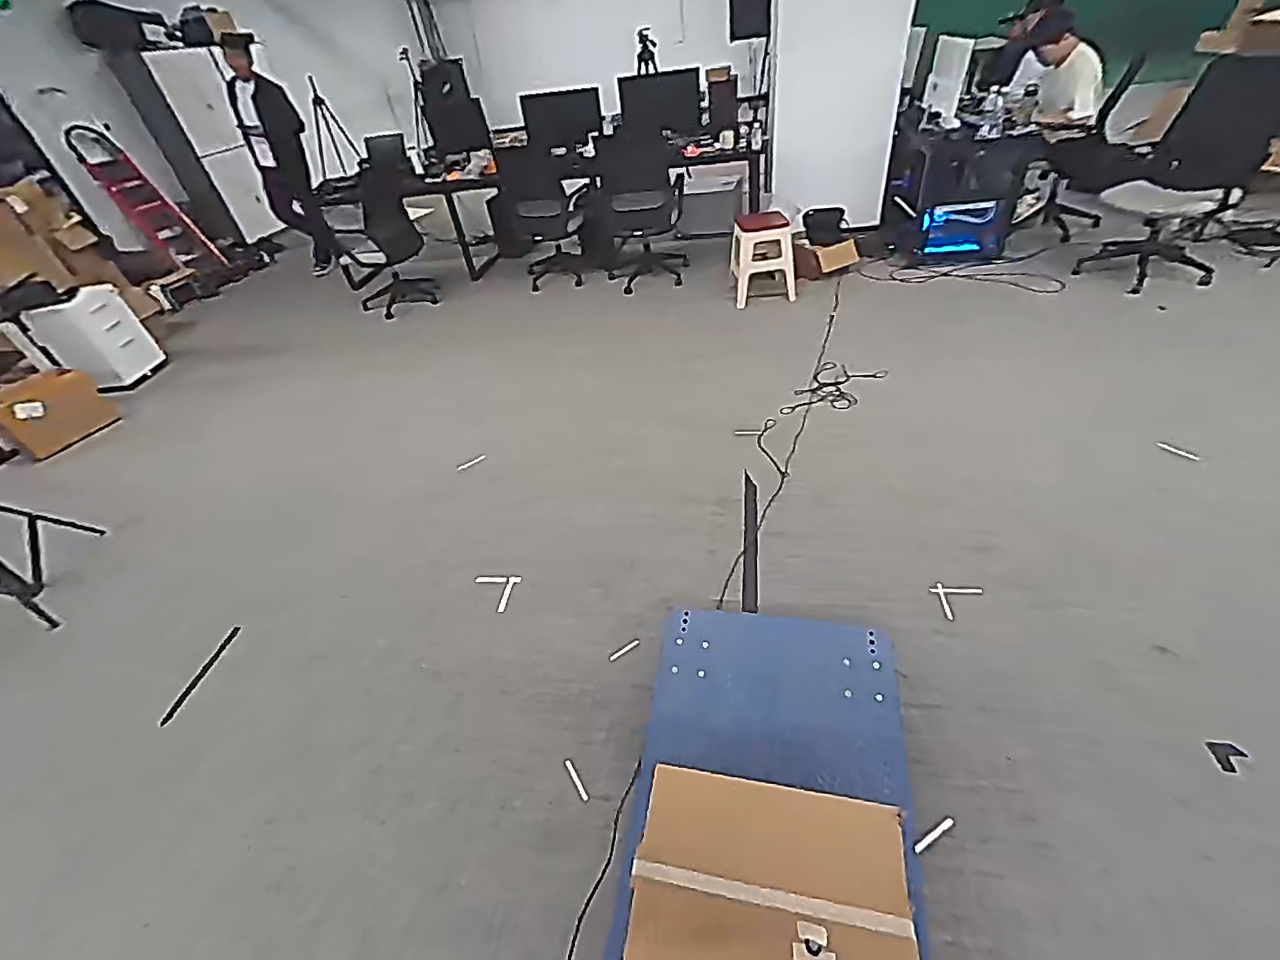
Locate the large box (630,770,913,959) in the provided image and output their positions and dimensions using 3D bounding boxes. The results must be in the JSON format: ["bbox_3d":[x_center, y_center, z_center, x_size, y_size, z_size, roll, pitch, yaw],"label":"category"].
[{"bbox_3d":[0.217,0.743,0.935,0.408,0.320,0.320,3,48,13],"label":"large box"}]
